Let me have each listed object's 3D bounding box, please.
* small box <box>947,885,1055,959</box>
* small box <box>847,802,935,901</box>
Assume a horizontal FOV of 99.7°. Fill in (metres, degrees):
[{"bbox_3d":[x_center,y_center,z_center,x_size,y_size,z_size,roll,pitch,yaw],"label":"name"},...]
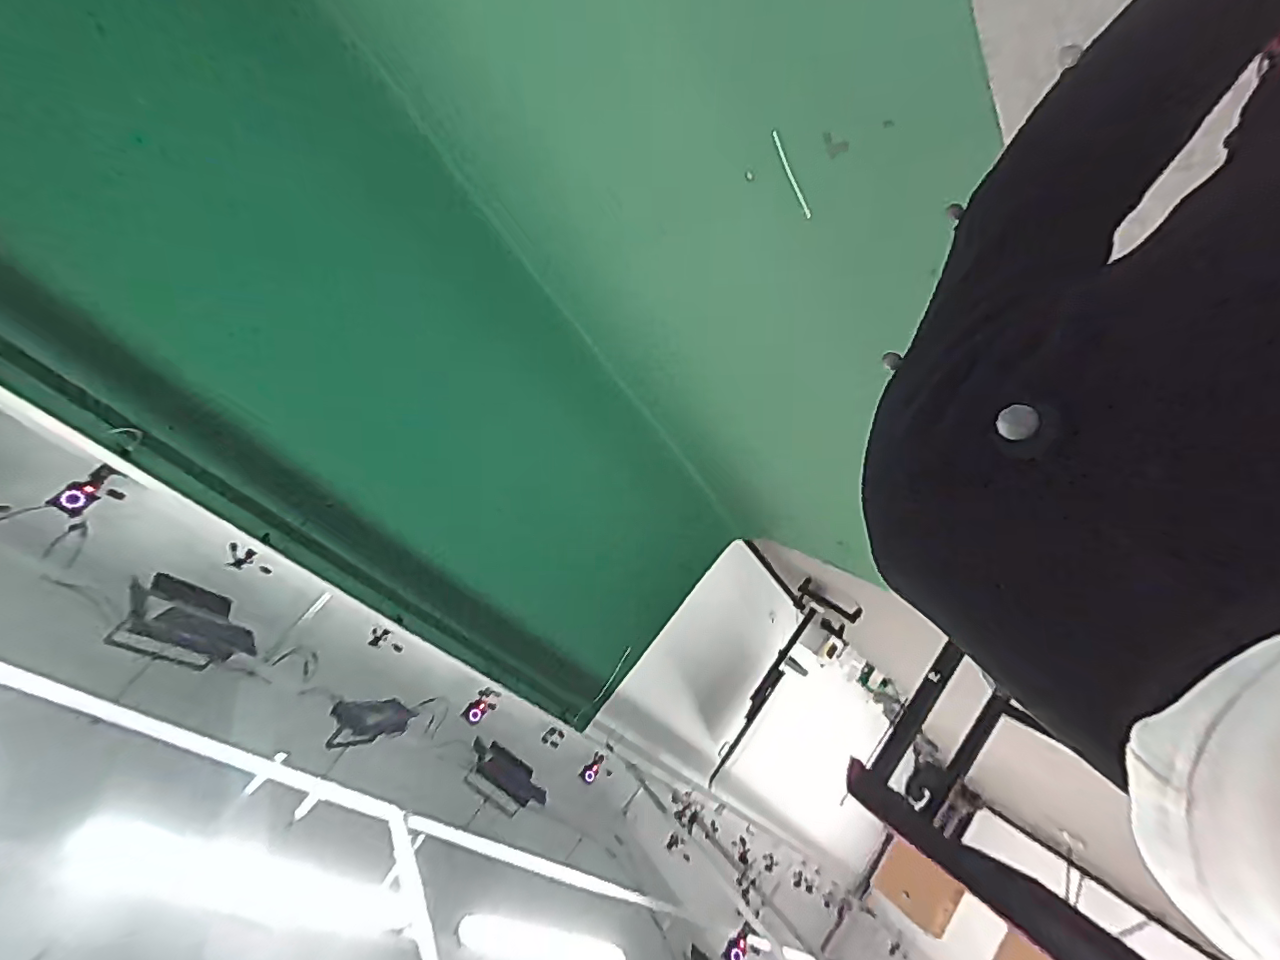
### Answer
[{"bbox_3d":[0.930,1.190,1.385,0.179,0.176,0.168,24,161,51],"label":"small box"},{"bbox_3d":[0.768,1.123,1.640,0.179,0.176,0.168,25,162,49],"label":"small box"}]
